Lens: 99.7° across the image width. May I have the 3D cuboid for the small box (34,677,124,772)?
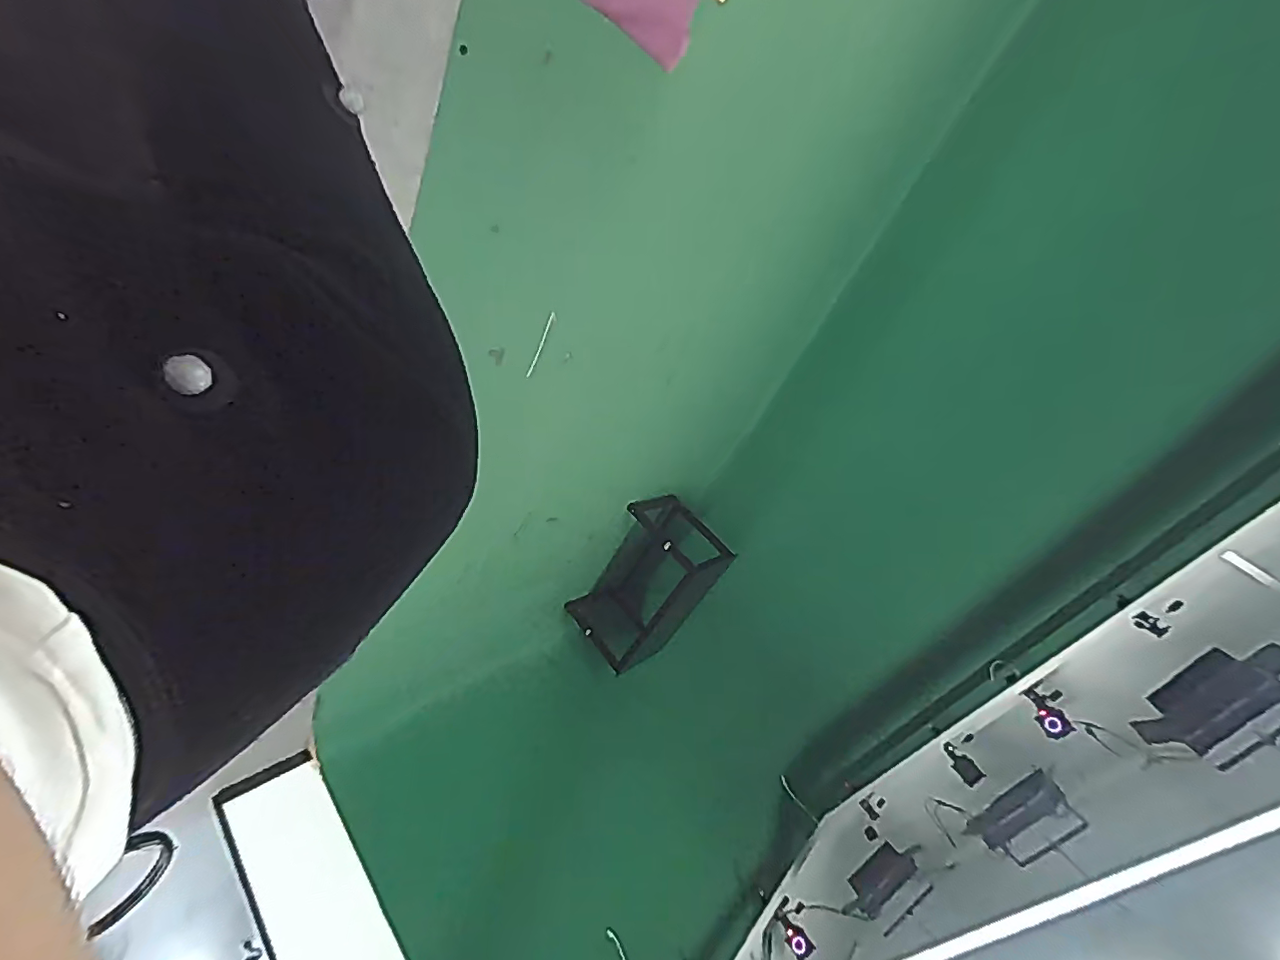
[{"bbox_3d":[-1.698,0.732,1.633,0.168,0.176,0.179,0,130,-54],"label":"small box"}]

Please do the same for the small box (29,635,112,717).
[{"bbox_3d":[-1.795,0.622,1.705,0.168,0.176,0.179,-4,133,-51],"label":"small box"}]
